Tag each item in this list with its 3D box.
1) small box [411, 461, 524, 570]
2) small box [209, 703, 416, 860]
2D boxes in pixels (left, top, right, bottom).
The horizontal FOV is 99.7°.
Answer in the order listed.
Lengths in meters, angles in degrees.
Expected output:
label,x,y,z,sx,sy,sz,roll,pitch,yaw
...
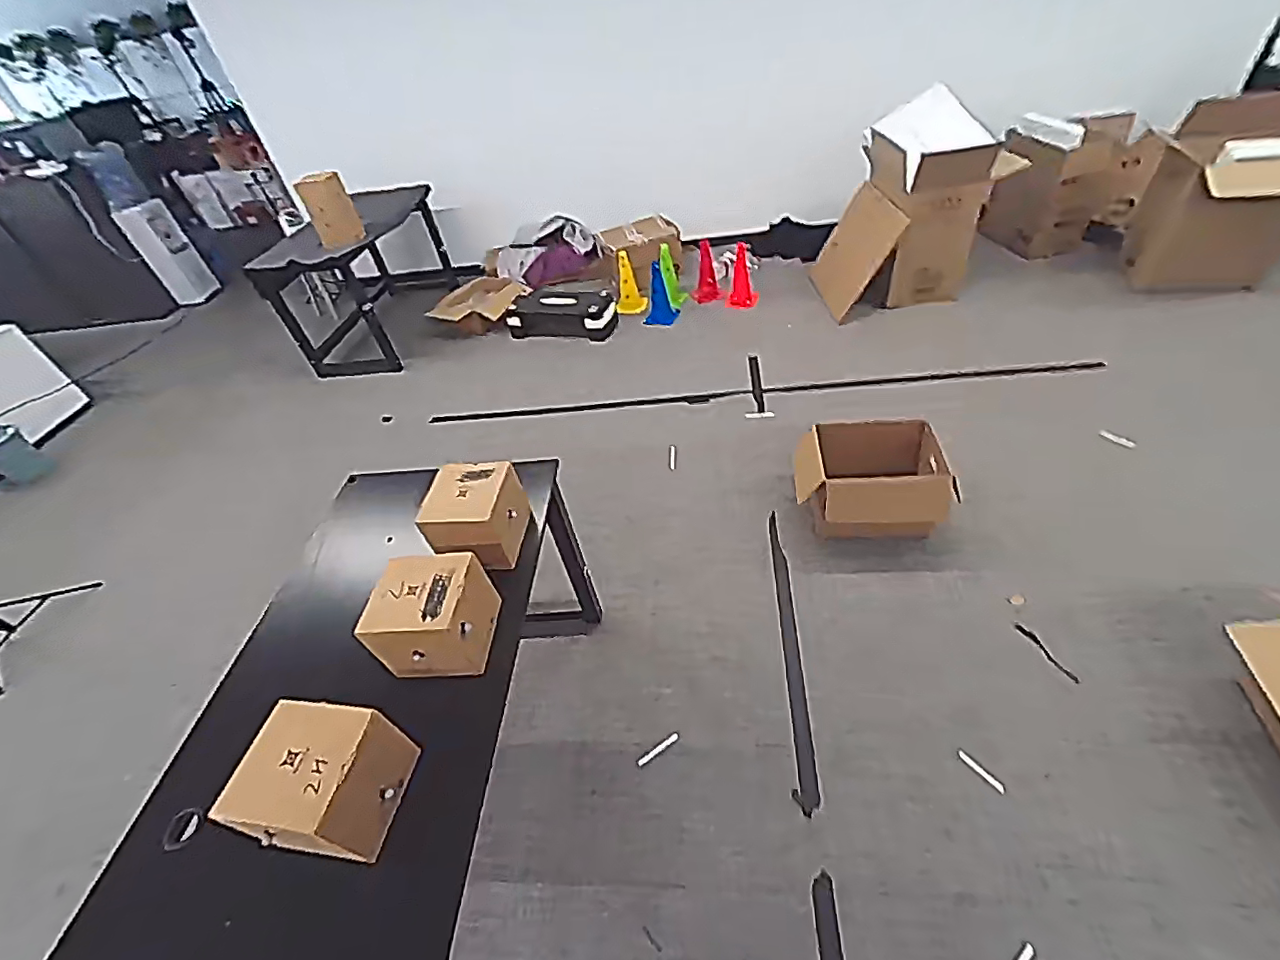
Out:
label,x,y,z,sx,sy,sz,roll,pitch,yaw
small box,-0.369,0.080,1.199,0.168,0.176,0.179,-3,46,10
small box,-0.485,0.463,0.832,0.179,0.176,0.168,0,45,12
